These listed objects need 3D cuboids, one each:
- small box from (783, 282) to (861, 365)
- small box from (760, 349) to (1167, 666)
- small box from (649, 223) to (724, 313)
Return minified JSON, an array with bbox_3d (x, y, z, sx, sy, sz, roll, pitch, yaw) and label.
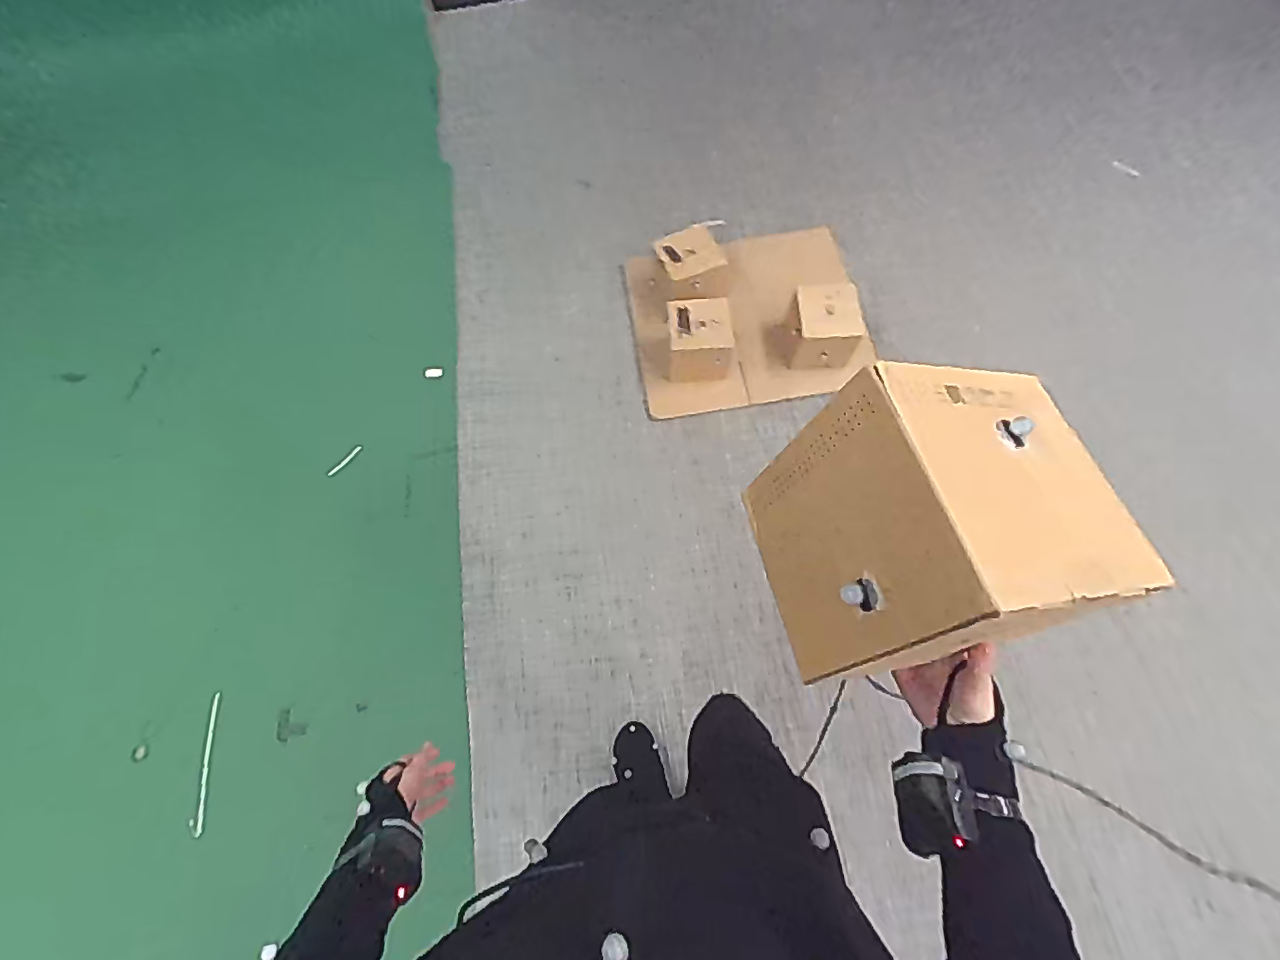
[{"bbox_3d":[0.517,-0.443,1.557,0.168,0.176,0.179,-2,69,1],"label":"small box"},{"bbox_3d":[0.210,0.029,0.408,0.168,0.179,0.176,1,59,-22],"label":"small box"},{"bbox_3d":[0.140,-0.642,1.657,0.179,0.176,0.168,-22,70,-7],"label":"small box"}]
